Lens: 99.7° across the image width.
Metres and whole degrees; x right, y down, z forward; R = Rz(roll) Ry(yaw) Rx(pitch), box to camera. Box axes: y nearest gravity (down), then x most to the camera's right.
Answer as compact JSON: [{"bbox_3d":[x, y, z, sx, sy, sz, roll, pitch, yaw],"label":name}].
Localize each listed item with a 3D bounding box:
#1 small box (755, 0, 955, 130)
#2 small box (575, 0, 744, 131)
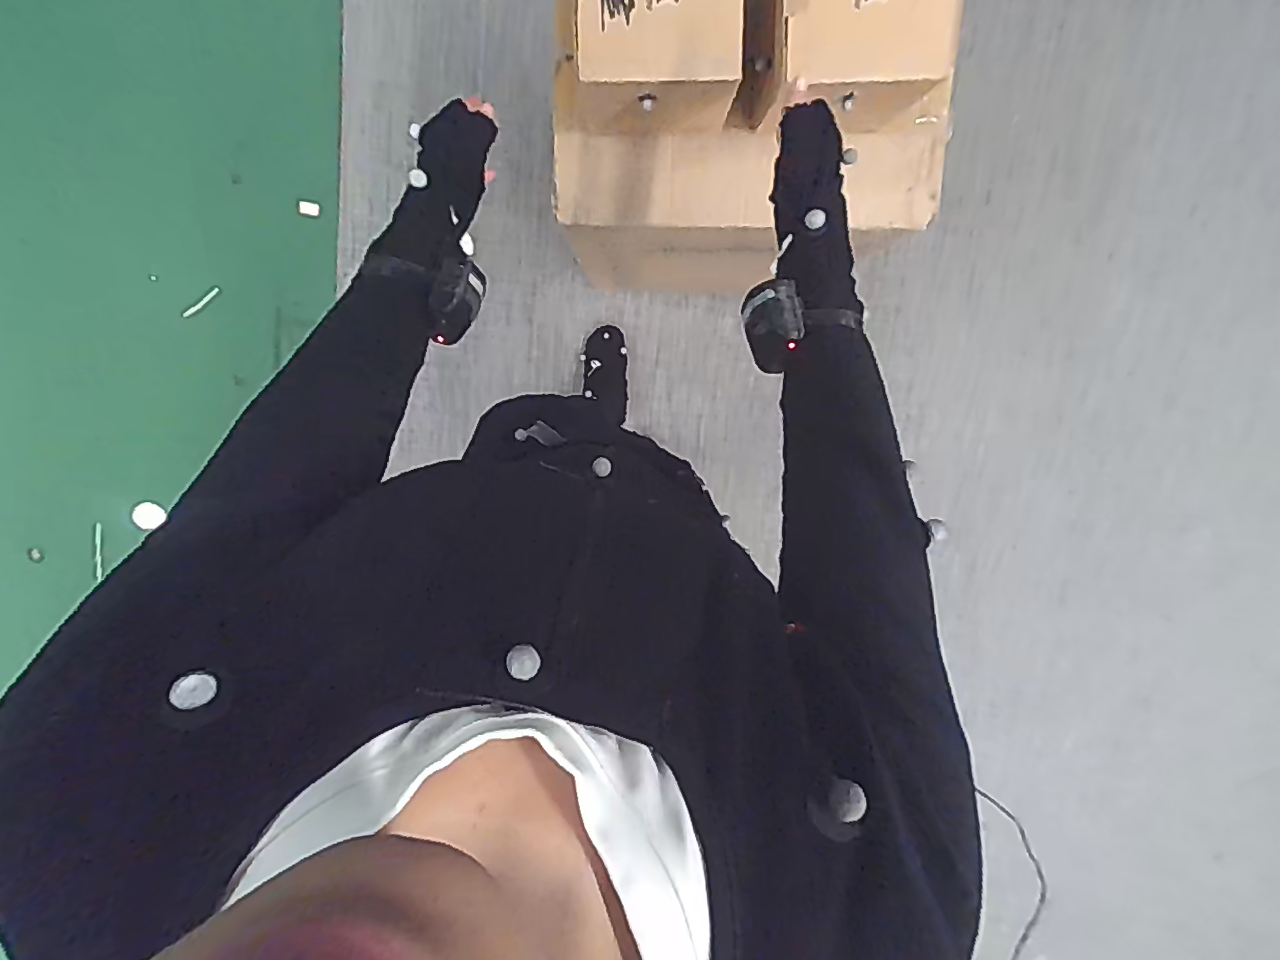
[{"bbox_3d":[0.235,-0.526,0.627,0.179,0.176,0.168,-2,107,-1],"label":"small box"},{"bbox_3d":[0.021,-0.524,0.627,0.179,0.176,0.168,-1,107,0],"label":"small box"}]
